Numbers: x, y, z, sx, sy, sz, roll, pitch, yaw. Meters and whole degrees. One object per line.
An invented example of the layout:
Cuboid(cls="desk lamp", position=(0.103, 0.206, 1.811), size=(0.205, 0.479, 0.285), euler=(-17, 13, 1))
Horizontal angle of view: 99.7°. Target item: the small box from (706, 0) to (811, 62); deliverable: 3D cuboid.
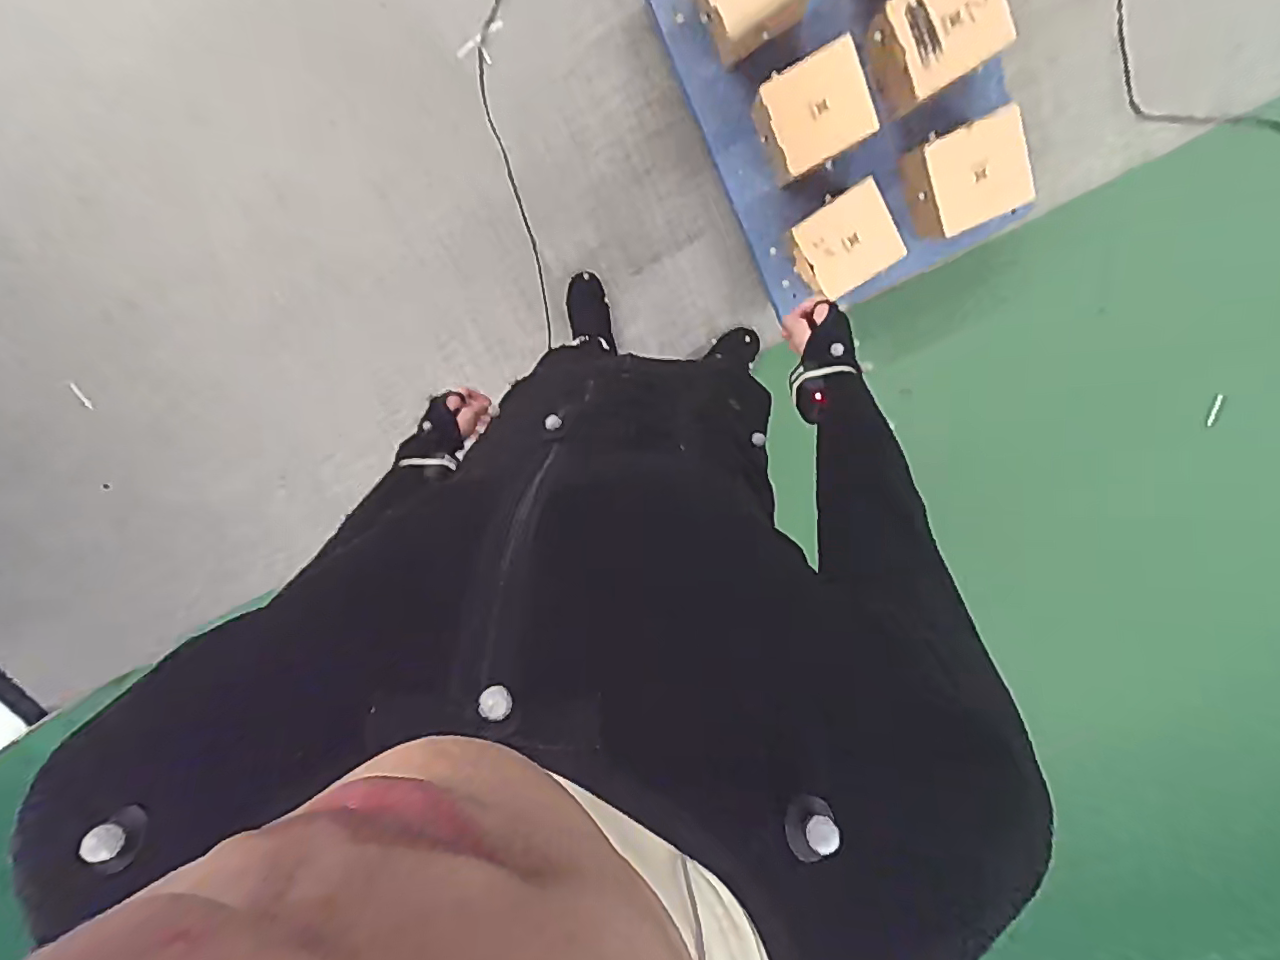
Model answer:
Cuboid(cls="small box", position=(0.216, -0.931, 1.004), size=(0.179, 0.176, 0.168), euler=(-26, 107, 16))

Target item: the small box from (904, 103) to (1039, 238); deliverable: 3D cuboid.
Cuboid(cls="small box", position=(0.655, -0.607, 1.087), size=(0.168, 0.176, 0.179), euler=(-20, 108, 15))

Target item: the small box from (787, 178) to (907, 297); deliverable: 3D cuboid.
Cuboid(cls="small box", position=(0.431, -0.508, 1.150), size=(0.179, 0.176, 0.168), euler=(-23, 105, 16))
